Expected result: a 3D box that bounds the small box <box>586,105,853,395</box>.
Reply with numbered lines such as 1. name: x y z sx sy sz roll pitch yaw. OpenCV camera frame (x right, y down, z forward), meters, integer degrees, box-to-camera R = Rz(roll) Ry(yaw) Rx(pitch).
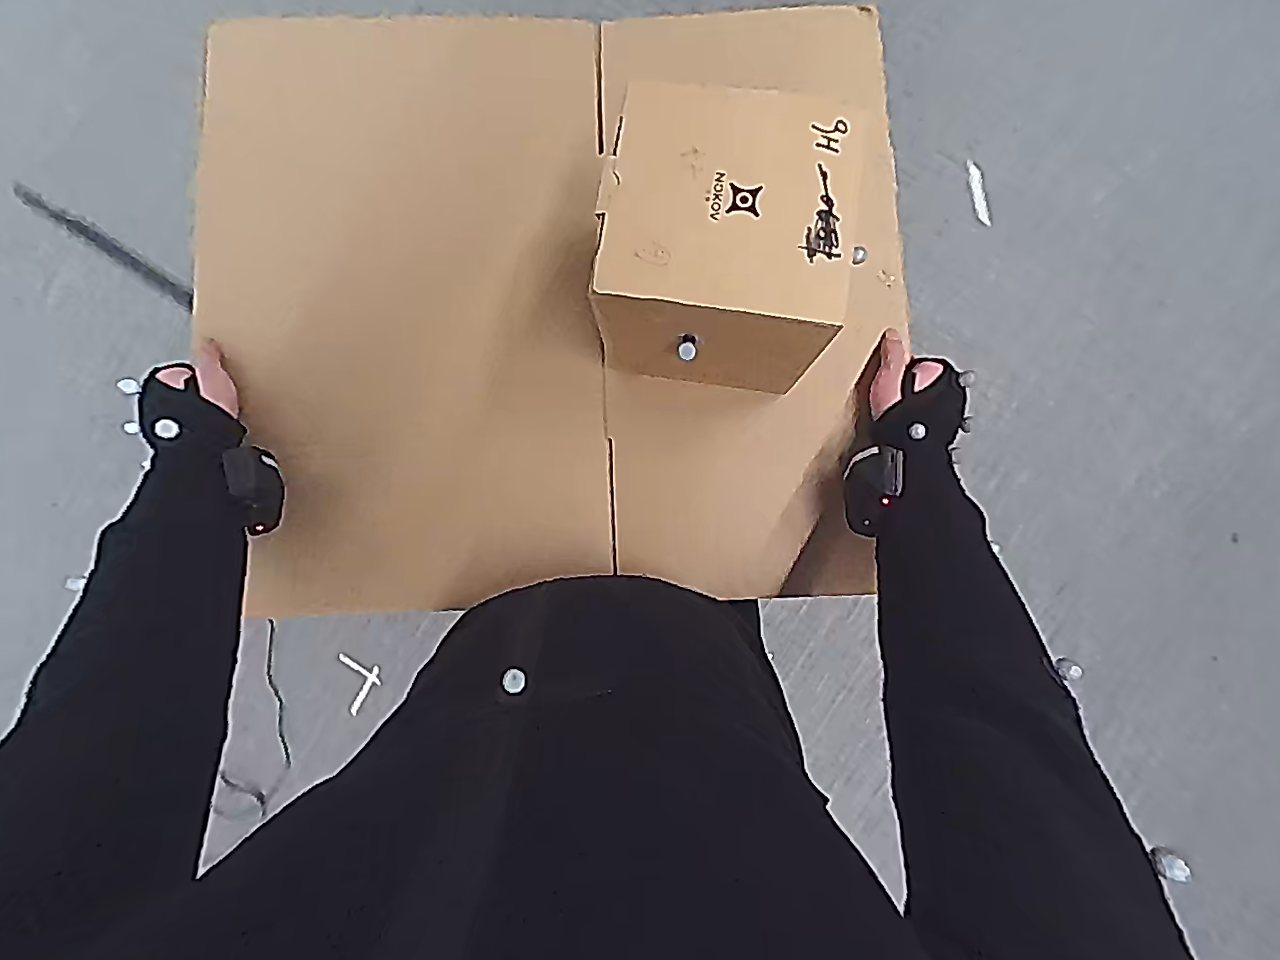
1. small box: 0.062 -0.179 0.467 0.179 0.176 0.168 7 84 4
